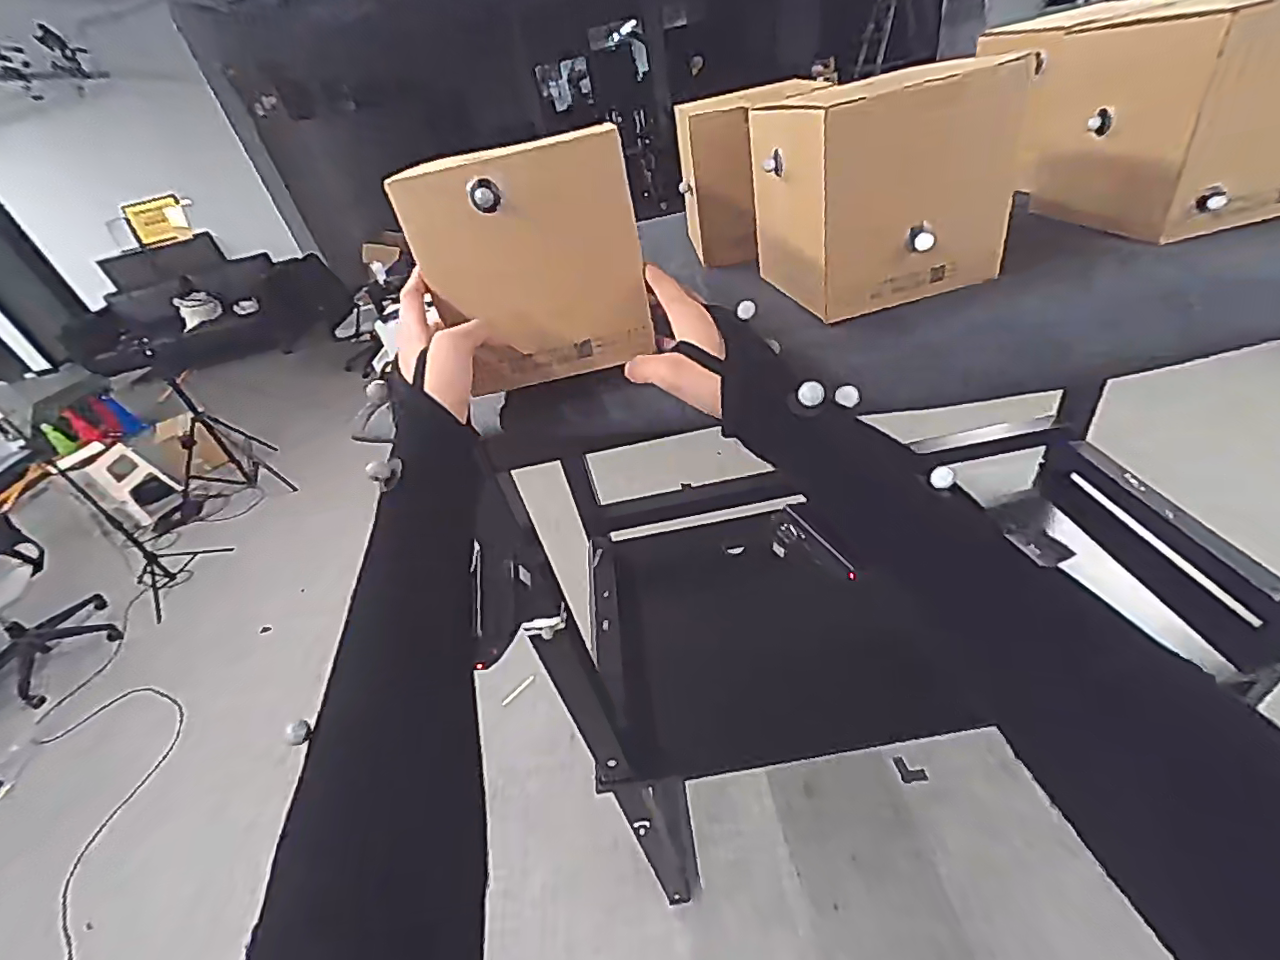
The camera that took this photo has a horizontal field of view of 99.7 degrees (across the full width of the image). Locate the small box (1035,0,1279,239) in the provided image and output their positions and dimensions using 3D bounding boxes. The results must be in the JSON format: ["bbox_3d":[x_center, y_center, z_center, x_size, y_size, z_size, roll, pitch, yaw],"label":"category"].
[{"bbox_3d":[0.514,-0.336,0.497,0.168,0.176,0.179,-13,35,2],"label":"small box"}]

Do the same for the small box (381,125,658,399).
[{"bbox_3d":[-0.086,-0.191,0.471,0.168,0.176,0.179,-13,34,2],"label":"small box"}]

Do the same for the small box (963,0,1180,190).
[{"bbox_3d":[0.539,-0.478,0.676,0.168,0.176,0.179,-12,38,3],"label":"small box"}]
